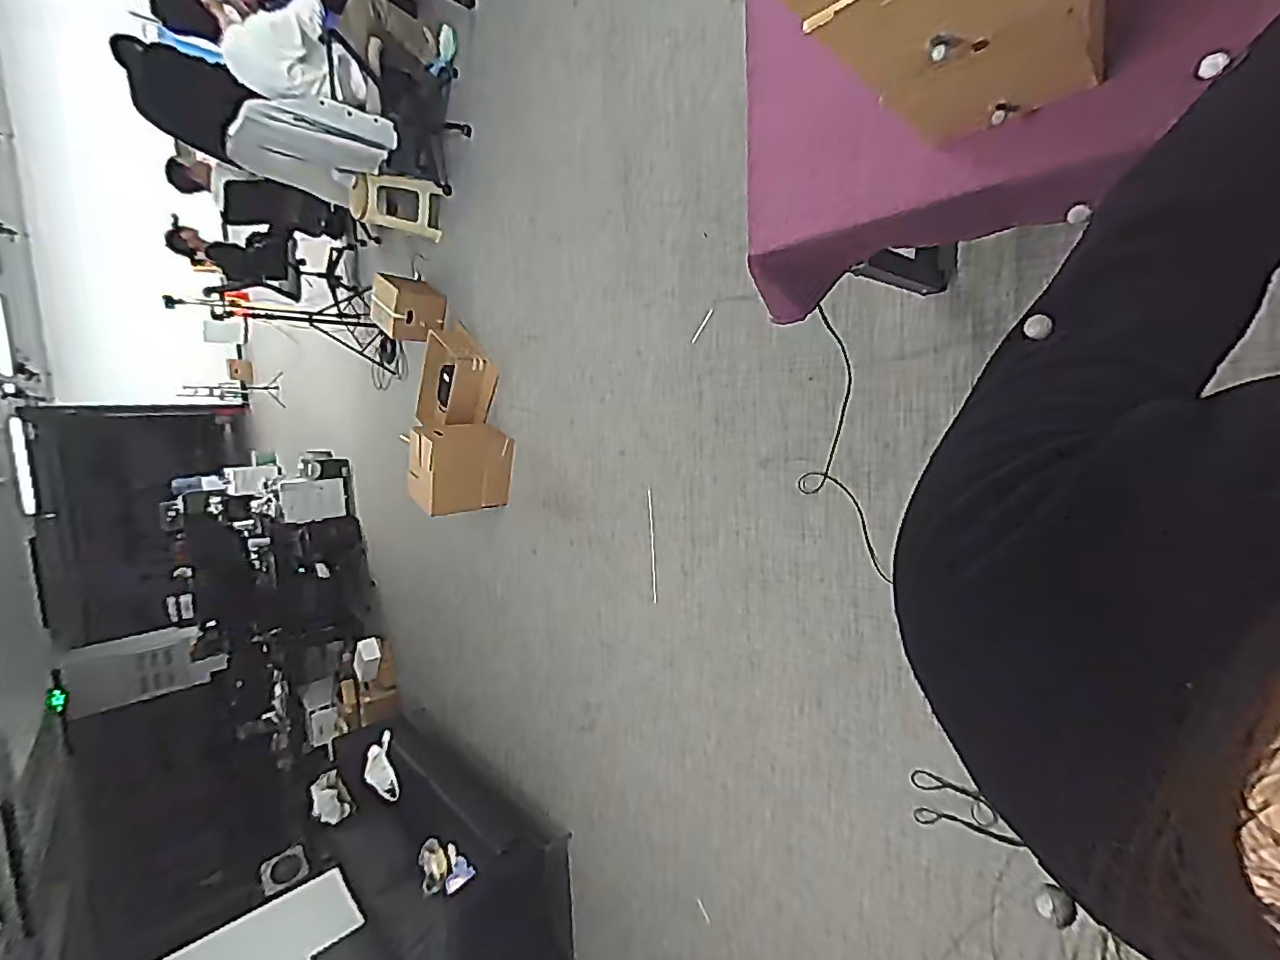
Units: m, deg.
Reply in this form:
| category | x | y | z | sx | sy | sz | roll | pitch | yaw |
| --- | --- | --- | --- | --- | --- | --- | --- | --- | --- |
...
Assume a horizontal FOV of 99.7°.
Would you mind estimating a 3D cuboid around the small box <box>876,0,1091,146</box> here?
| category | x | y | z | sx | sy | sz | roll | pitch | yaw |
| --- | --- | --- | --- | --- | --- | --- | --- | --- | --- |
| small box | 0.382 | -0.510 | 0.598 | 0.179 | 0.176 | 0.168 | 3 | 98 | 46 |

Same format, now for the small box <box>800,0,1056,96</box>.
| category | x | y | z | sx | sy | sz | roll | pitch | yaw |
| --- | --- | --- | --- | --- | --- | --- | --- | --- | --- |
| small box | 0.262 | -0.498 | 0.485 | 0.168 | 0.176 | 0.179 | 6 | 100 | 47 |
